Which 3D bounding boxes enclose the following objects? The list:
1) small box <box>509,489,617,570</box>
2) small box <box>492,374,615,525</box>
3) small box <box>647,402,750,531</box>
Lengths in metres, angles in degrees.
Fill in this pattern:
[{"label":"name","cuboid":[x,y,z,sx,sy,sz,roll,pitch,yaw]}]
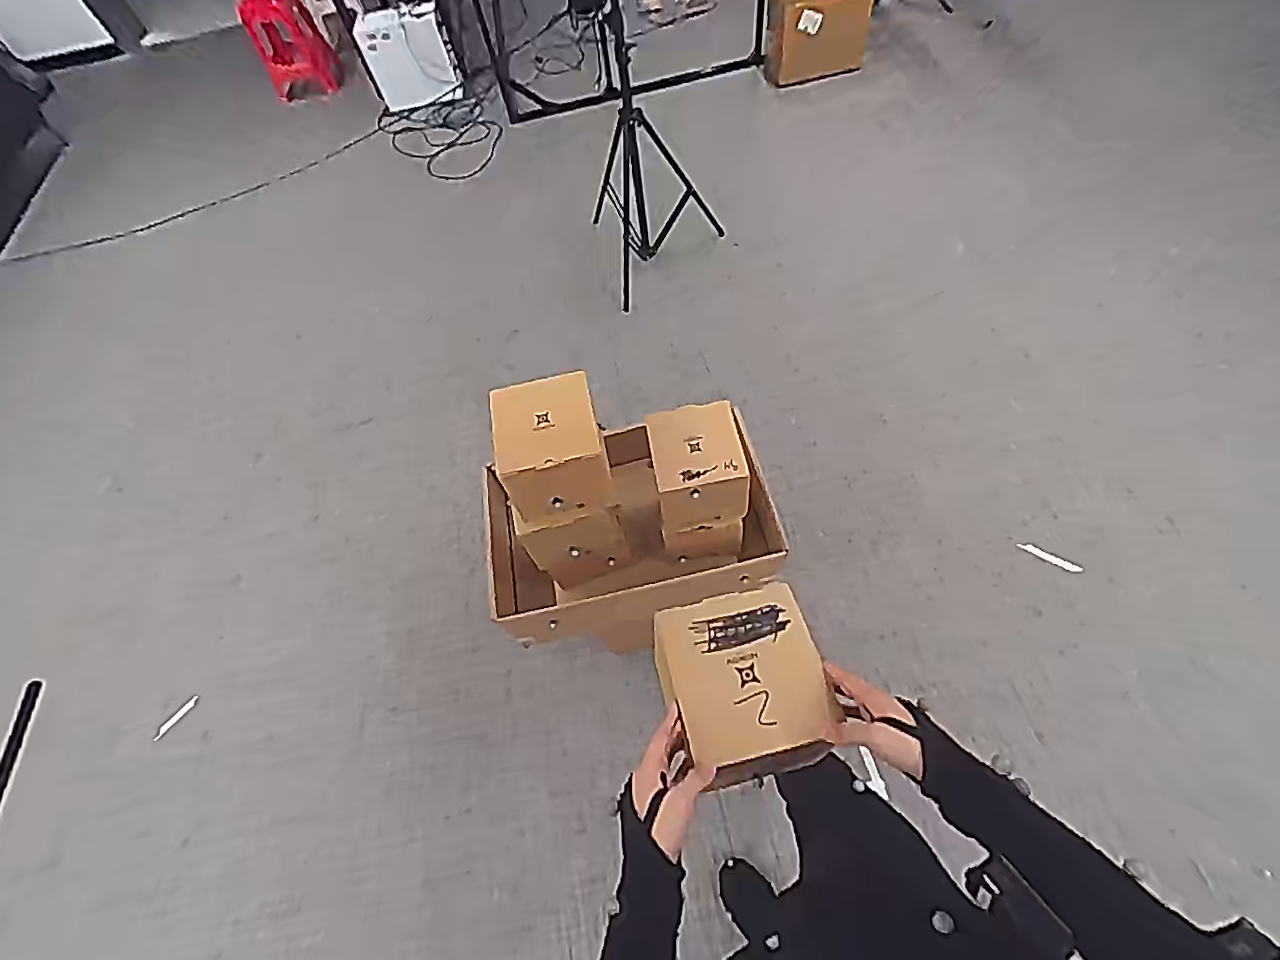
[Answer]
[{"label":"small box","cuboid":[-0.151,0.051,1.059,0.168,0.176,0.179,-17,60,-3]},{"label":"small box","cuboid":[-0.144,-0.048,0.927,0.168,0.176,0.179,-14,60,-2]},{"label":"small box","cuboid":[0.113,-0.023,1.058,0.168,0.176,0.179,-11,59,3]}]
